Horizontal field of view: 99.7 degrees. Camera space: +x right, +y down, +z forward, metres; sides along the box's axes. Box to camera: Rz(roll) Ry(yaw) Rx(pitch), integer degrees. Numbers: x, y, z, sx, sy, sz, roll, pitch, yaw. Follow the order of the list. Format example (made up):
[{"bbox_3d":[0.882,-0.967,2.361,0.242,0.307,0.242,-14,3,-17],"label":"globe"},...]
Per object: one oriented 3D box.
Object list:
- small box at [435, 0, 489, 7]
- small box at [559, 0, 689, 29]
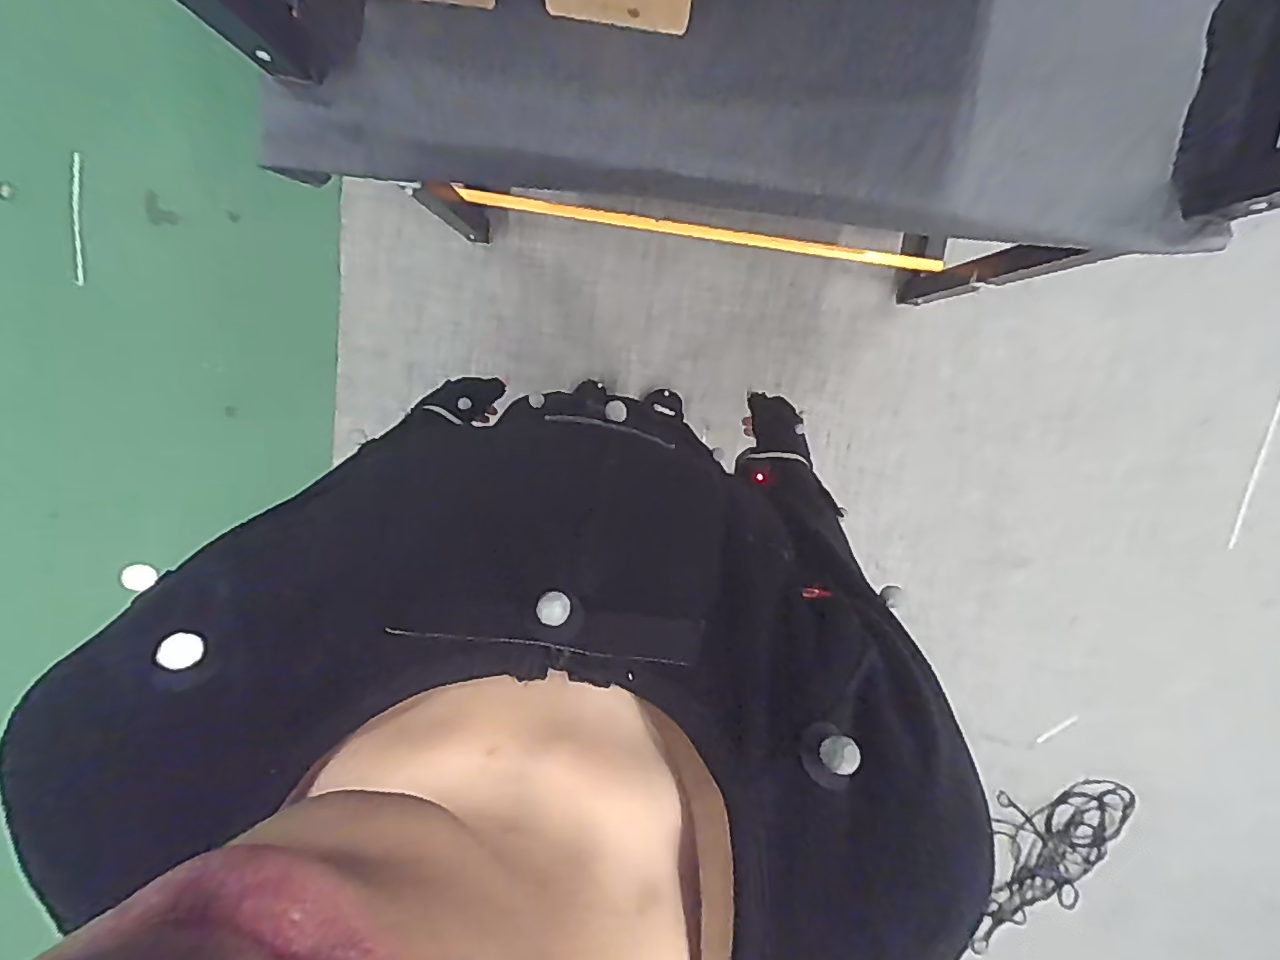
[{"bbox_3d":[-0.243,-0.632,0.537,0.168,0.176,0.179,5,101,-1],"label":"small box"},{"bbox_3d":[-0.017,-0.608,0.545,0.168,0.176,0.179,8,100,-2],"label":"small box"}]
